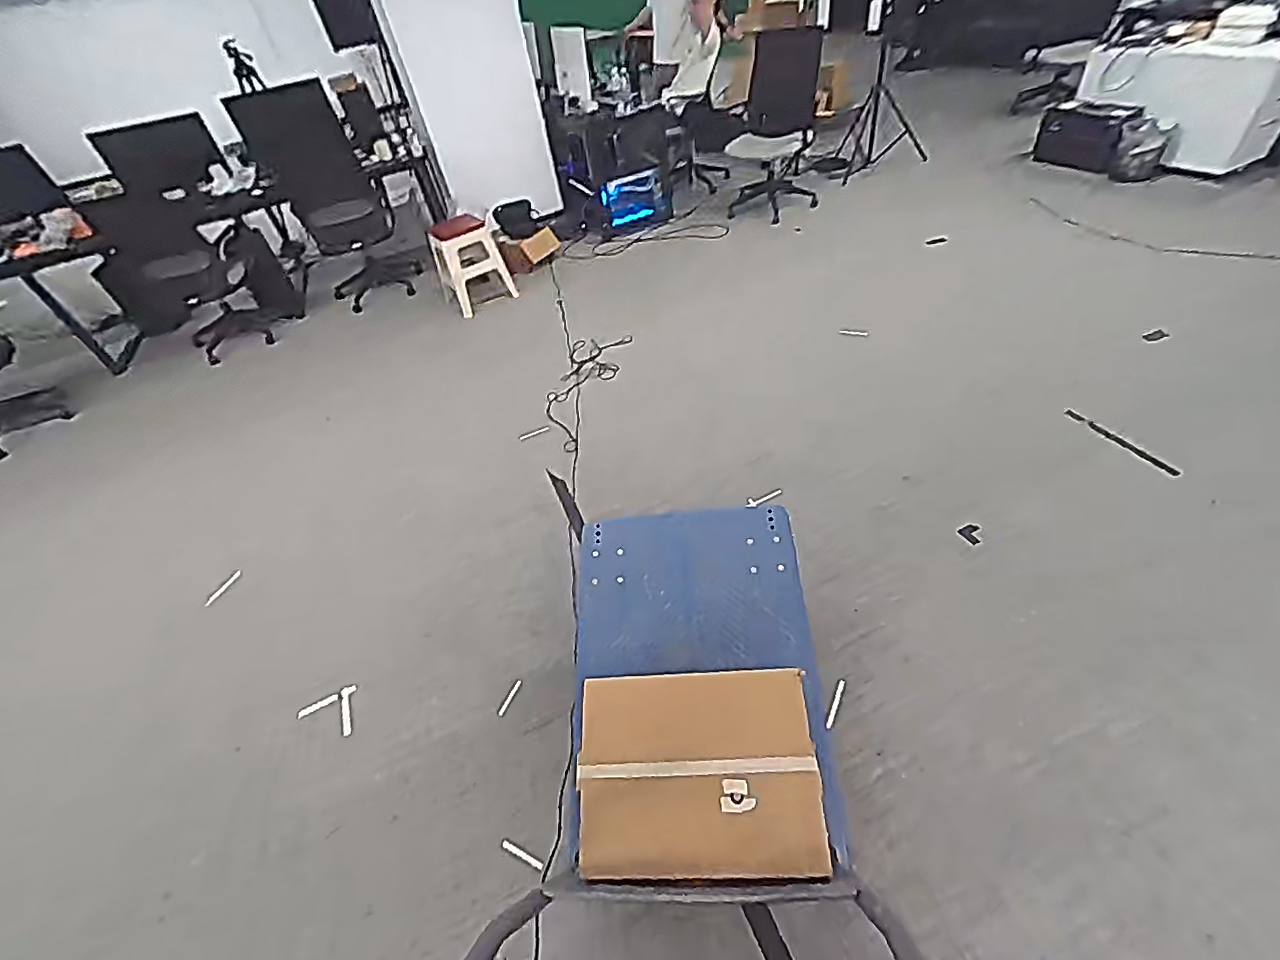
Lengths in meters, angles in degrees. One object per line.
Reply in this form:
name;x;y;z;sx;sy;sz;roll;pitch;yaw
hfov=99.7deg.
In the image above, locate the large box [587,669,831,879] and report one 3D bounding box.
large box;0.121;0.579;1.072;0.408;0.320;0.320;-5;59;6
